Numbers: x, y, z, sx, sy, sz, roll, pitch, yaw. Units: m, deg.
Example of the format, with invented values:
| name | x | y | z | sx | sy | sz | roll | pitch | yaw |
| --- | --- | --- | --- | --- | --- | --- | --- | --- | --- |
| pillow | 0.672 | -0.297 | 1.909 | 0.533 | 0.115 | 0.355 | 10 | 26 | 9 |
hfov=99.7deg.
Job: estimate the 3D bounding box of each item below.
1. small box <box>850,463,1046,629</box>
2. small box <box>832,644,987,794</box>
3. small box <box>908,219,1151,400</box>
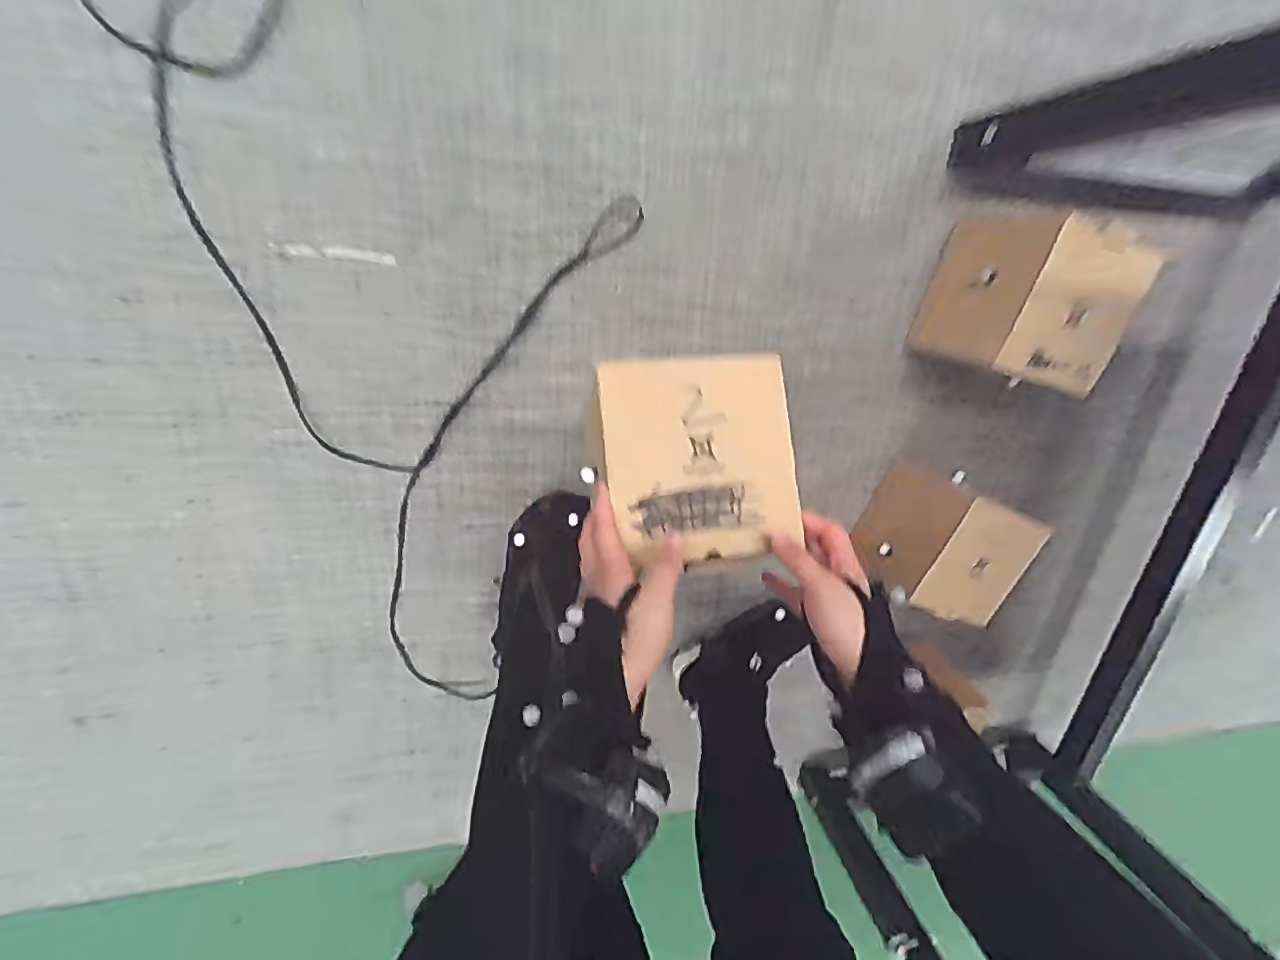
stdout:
| name | x | y | z | sx | sy | sz | roll | pitch | yaw |
| --- | --- | --- | --- | --- | --- | --- | --- | --- | --- |
| small box | 0.462 | 0.097 | 0.845 | 0.168 | 0.176 | 0.179 | 19 | 105 | -20 |
| small box | 0.472 | 0.422 | 0.976 | 0.179 | 0.176 | 0.168 | -5 | 113 | -11 |
| small box | 0.501 | -0.226 | 0.724 | 0.168 | 0.176 | 0.179 | 11 | 108 | -17 |
